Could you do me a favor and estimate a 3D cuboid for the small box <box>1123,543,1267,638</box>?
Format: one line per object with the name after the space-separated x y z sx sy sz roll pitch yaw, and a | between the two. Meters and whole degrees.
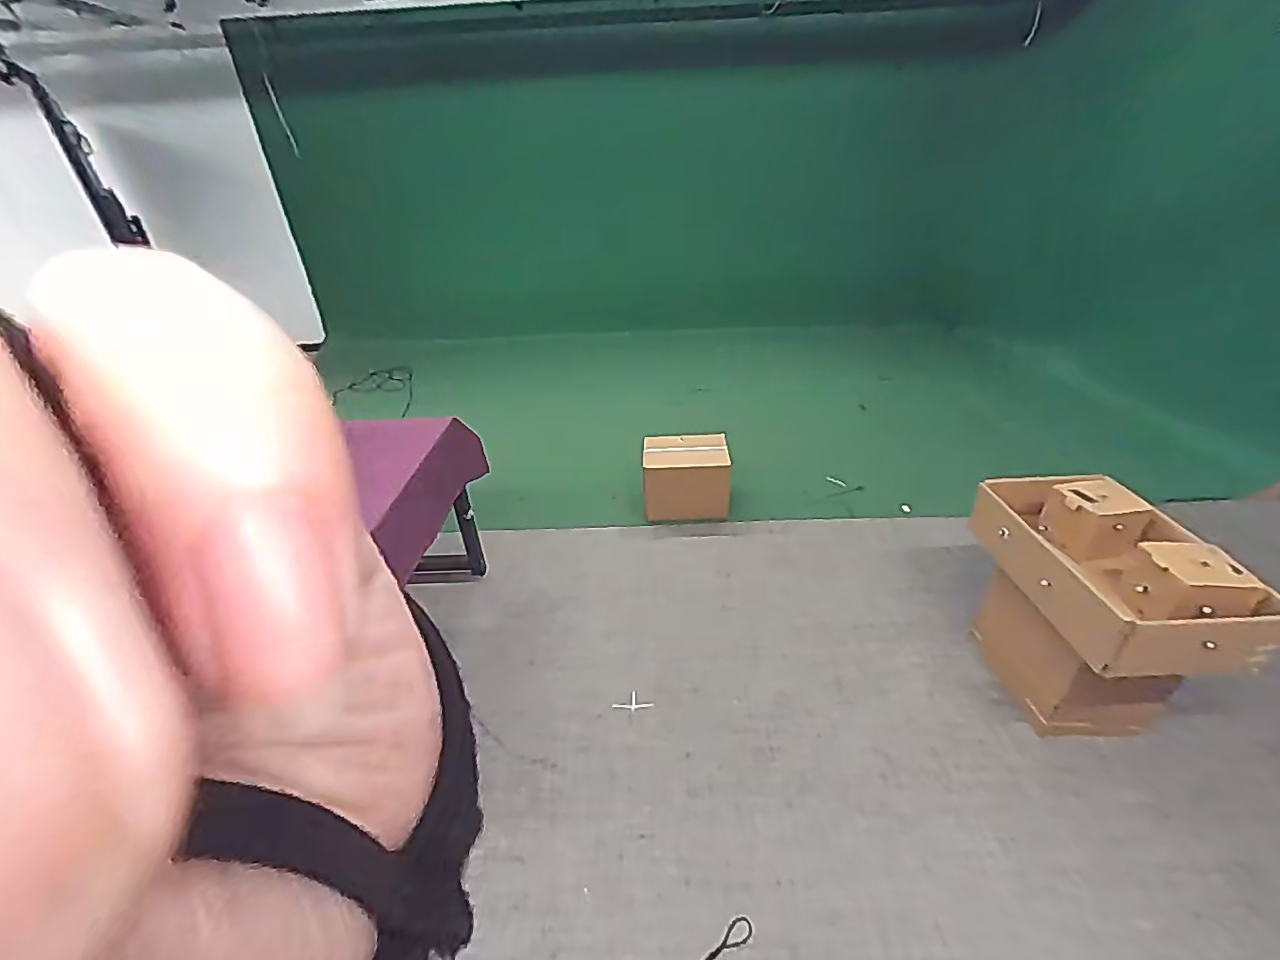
1.355 0.274 1.343 0.179 0.176 0.168 0 32 8 | small box
